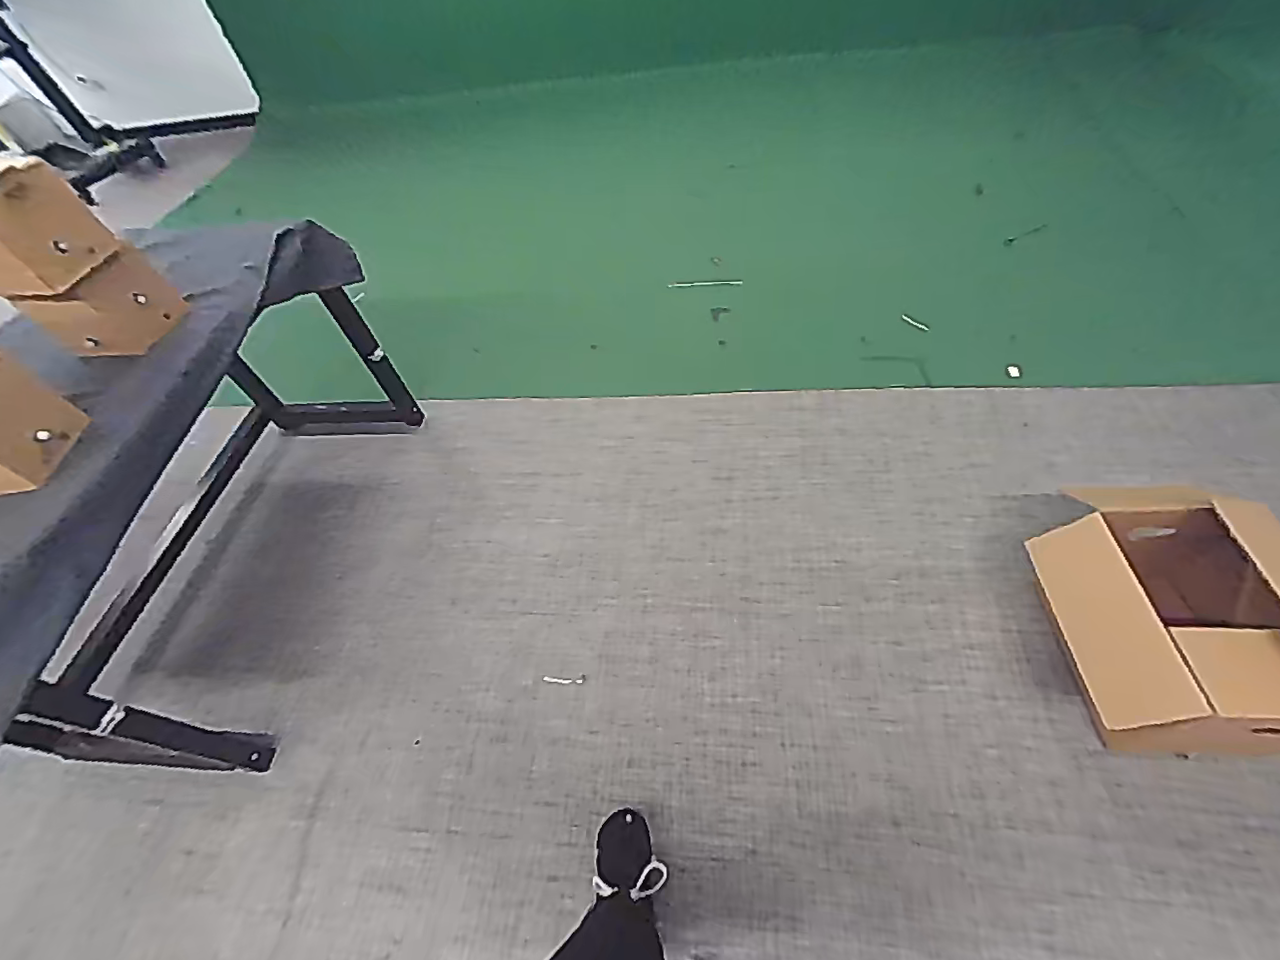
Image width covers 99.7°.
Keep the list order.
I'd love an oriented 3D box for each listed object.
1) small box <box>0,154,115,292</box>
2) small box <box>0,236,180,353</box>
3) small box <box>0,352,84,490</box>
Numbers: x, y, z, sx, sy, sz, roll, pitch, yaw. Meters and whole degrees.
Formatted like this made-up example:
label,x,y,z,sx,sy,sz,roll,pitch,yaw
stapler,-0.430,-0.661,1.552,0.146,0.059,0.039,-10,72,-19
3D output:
label,x,y,z,sx,sy,sz,roll,pitch,yaw
small box,-1.126,-0.453,0.963,0.179,0.176,0.168,3,54,10
small box,-1.117,-0.376,1.109,0.179,0.176,0.168,1,54,8
small box,-1.109,-0.089,0.892,0.179,0.176,0.168,-8,53,2
